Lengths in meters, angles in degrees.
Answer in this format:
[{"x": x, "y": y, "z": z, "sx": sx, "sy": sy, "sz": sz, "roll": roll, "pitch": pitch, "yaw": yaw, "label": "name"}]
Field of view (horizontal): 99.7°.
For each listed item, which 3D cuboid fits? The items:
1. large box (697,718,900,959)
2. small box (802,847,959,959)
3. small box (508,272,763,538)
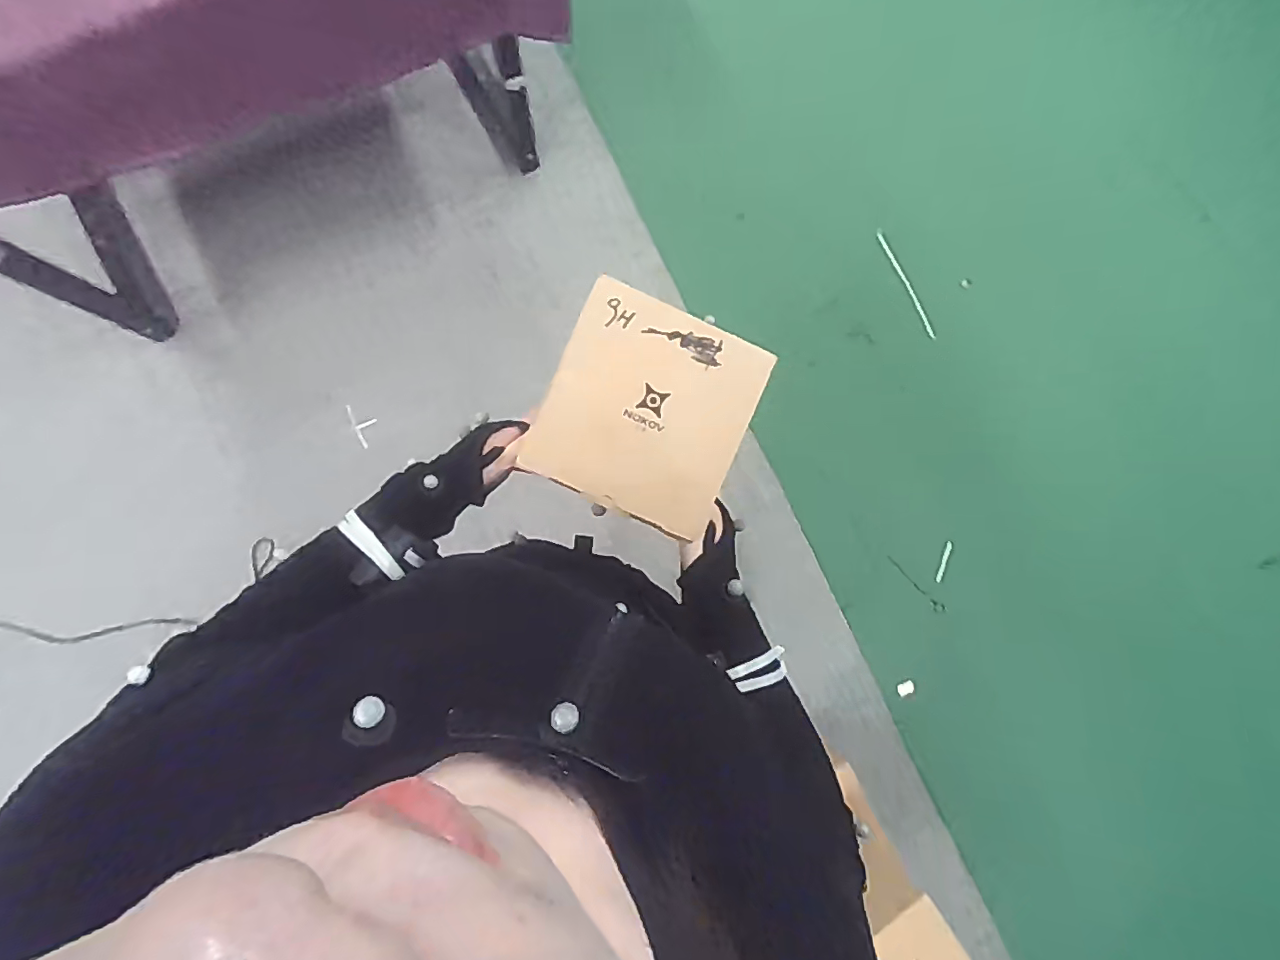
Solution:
[{"x": 0.387, "y": 0.880, "z": 1.322, "sx": 0.320, "sy": 0.320, "sz": 0.408, "roll": -26, "pitch": 88, "yaw": -7, "label": "large box"}, {"x": 0.409, "y": 0.775, "z": 0.923, "sx": 0.168, "sy": 0.176, "sz": 0.179, "roll": -31, "pitch": 89, "yaw": -7, "label": "small box"}, {"x": -0.007, "y": -0.064, "z": 0.530, "sx": 0.168, "sy": 0.176, "sz": 0.179, "roll": 24, "pitch": 90, "yaw": -5, "label": "small box"}]
